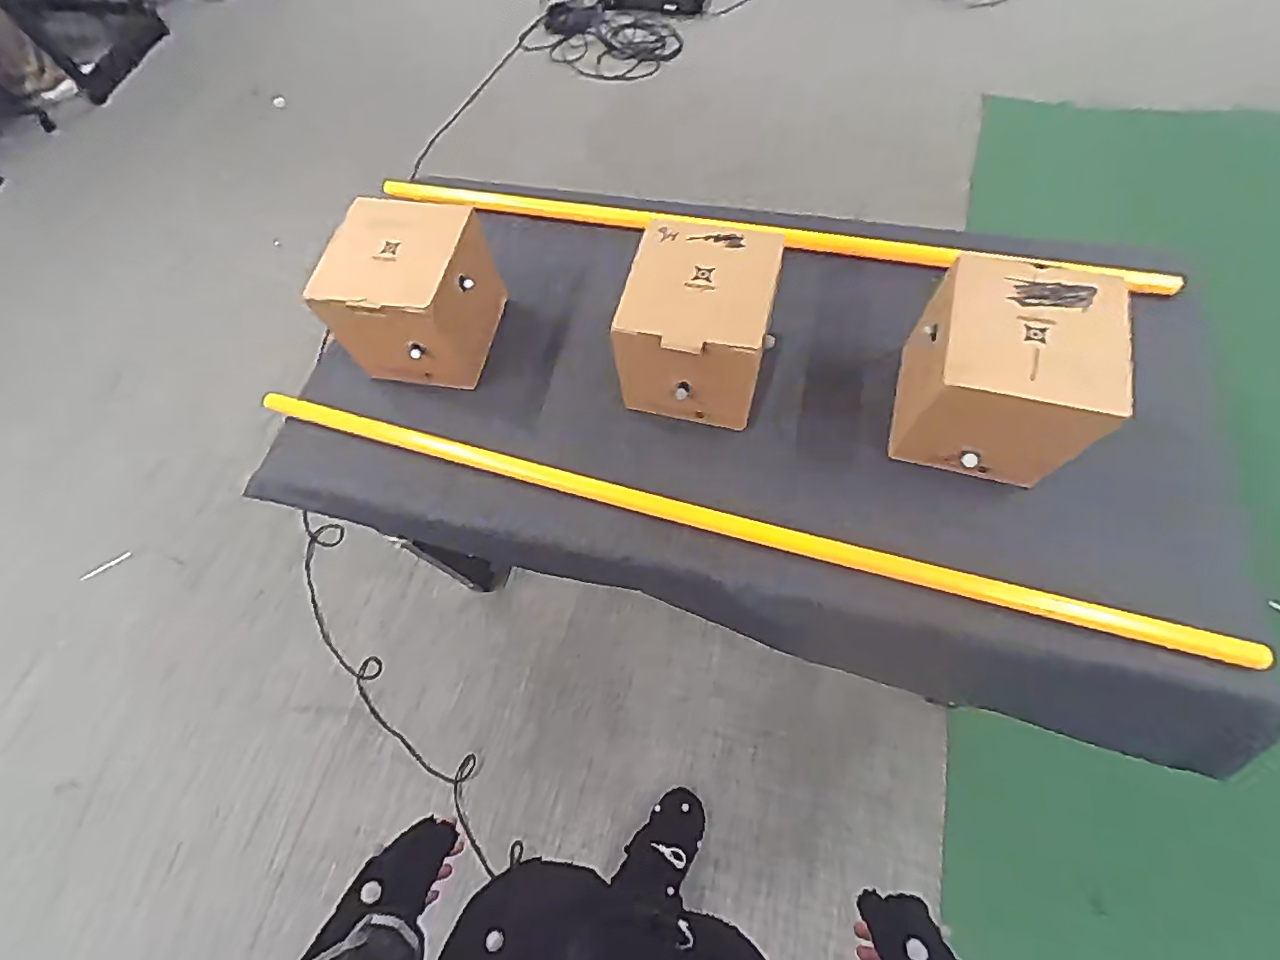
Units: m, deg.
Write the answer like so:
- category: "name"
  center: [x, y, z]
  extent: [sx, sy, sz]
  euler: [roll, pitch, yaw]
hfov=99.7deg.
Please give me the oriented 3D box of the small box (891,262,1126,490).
- category: "small box"
  center: [0.405, -0.113, 0.622]
  extent: [0.168, 0.176, 0.179]
  euler: [13, 68, 12]

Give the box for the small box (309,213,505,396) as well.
- category: "small box"
  center: [-0.304, -0.237, 0.752]
  extent: [0.168, 0.176, 0.179]
  euler: [8, 64, 7]

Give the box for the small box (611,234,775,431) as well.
- category: "small box"
  center: [0.073, -0.182, 0.691]
  extent: [0.168, 0.176, 0.179]
  euler: [8, 65, 11]
